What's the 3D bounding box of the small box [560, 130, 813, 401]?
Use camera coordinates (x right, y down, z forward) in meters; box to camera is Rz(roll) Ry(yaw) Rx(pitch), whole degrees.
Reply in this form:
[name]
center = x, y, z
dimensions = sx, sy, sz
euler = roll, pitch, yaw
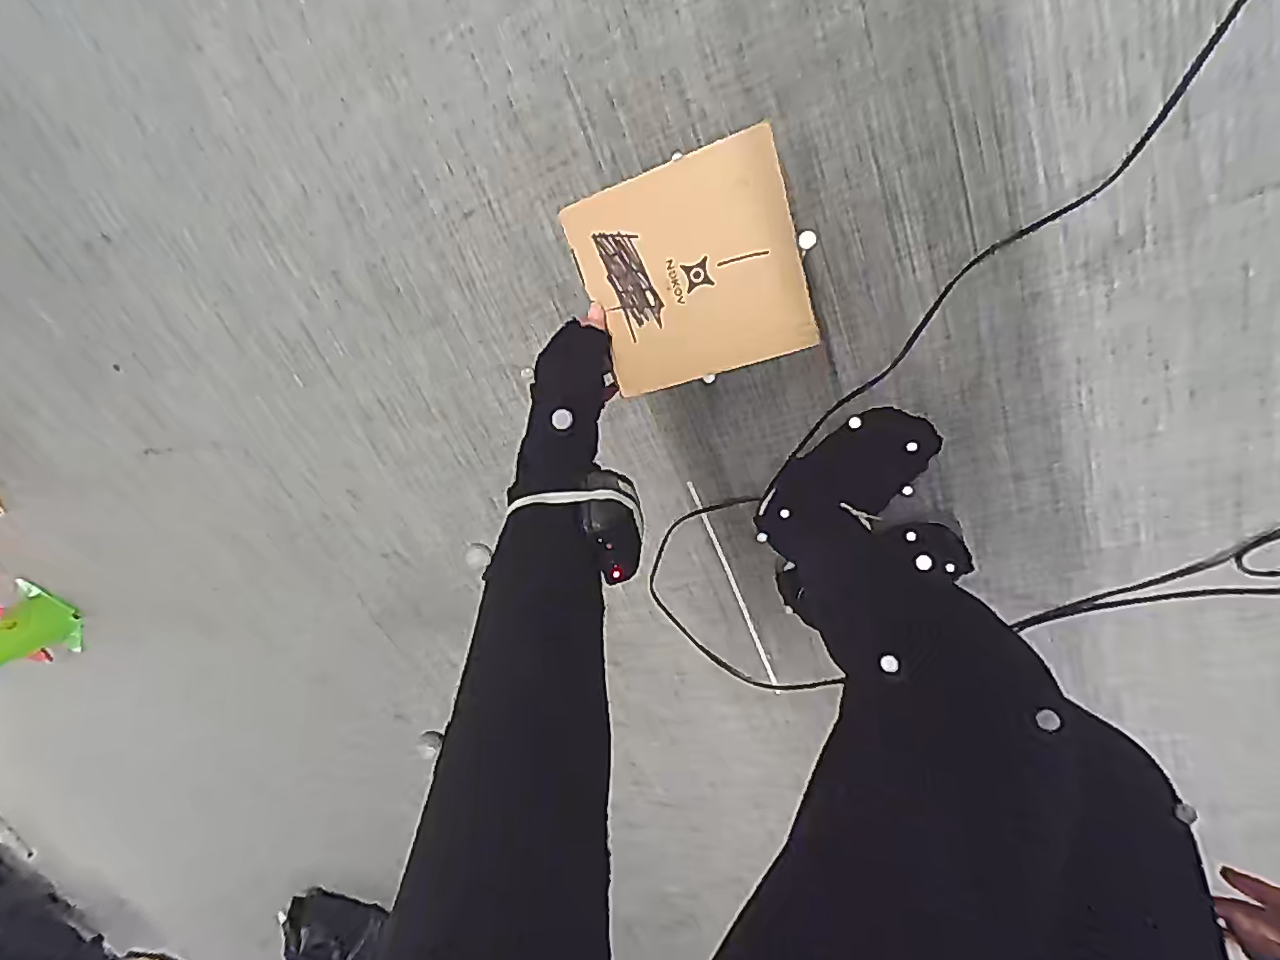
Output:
[small box]
center = 0.056, -0.191, 0.506
dimensions = 0.179, 0.176, 0.168
euler = -13, 111, 20
